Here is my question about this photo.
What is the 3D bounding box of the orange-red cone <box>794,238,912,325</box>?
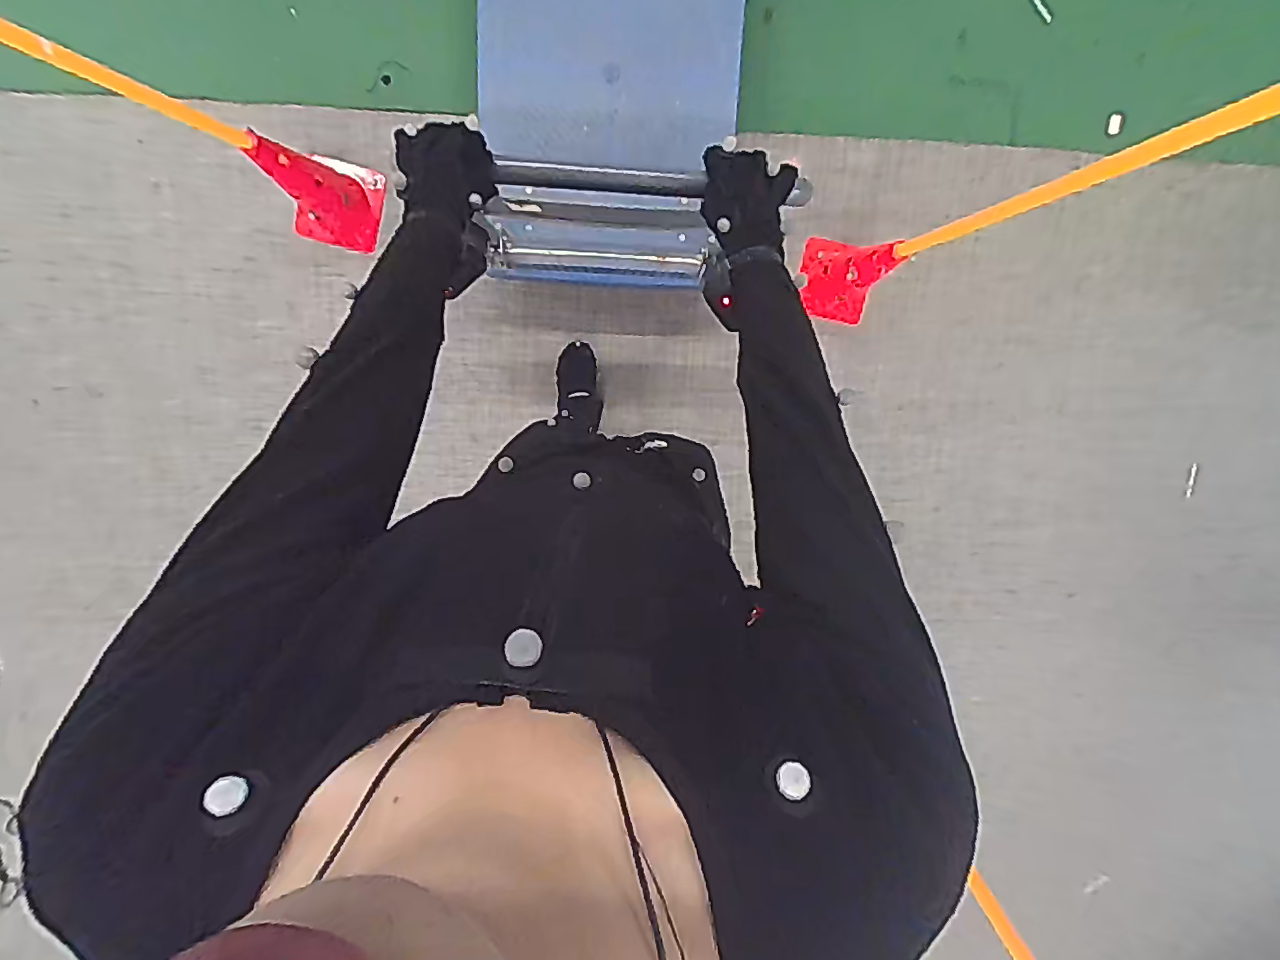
[{"bbox_3d":[0.534,-0.502,1.281,0.198,0.360,0.199,12,99,-5],"label":"orange-red cone"}]
